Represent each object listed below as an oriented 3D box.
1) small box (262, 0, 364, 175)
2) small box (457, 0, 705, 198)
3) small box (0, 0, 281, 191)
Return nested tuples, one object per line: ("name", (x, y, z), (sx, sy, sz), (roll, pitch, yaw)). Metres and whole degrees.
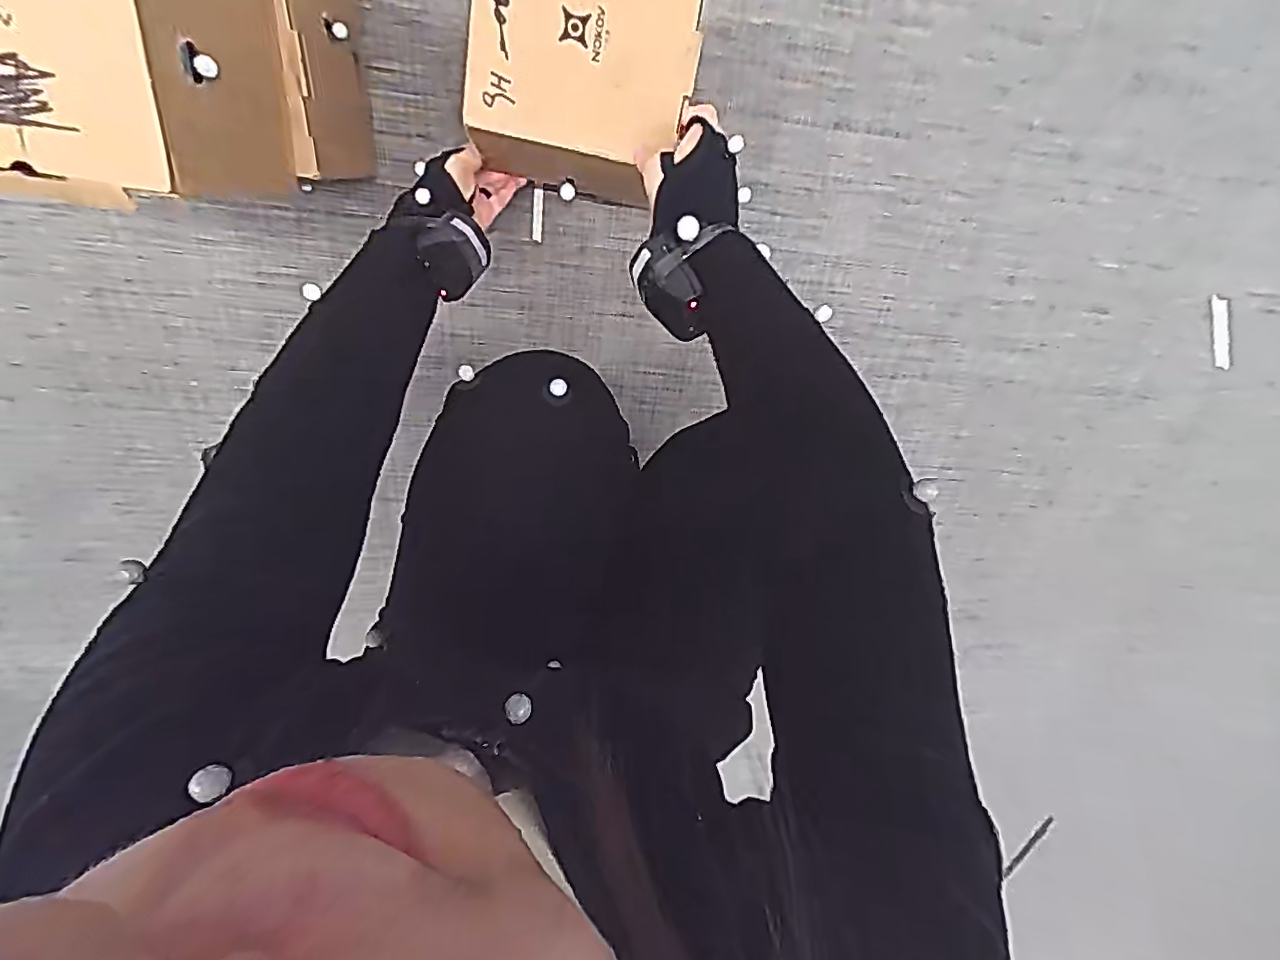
("small box", (-0.368, -0.380, 0.486), (0.179, 0.176, 0.168), (2, 120, -8))
("small box", (-0.054, -0.370, 0.488), (0.179, 0.176, 0.168), (8, 107, -12))
("small box", (-0.362, -0.296, 0.344), (0.168, 0.176, 0.179), (5, 118, -10))
